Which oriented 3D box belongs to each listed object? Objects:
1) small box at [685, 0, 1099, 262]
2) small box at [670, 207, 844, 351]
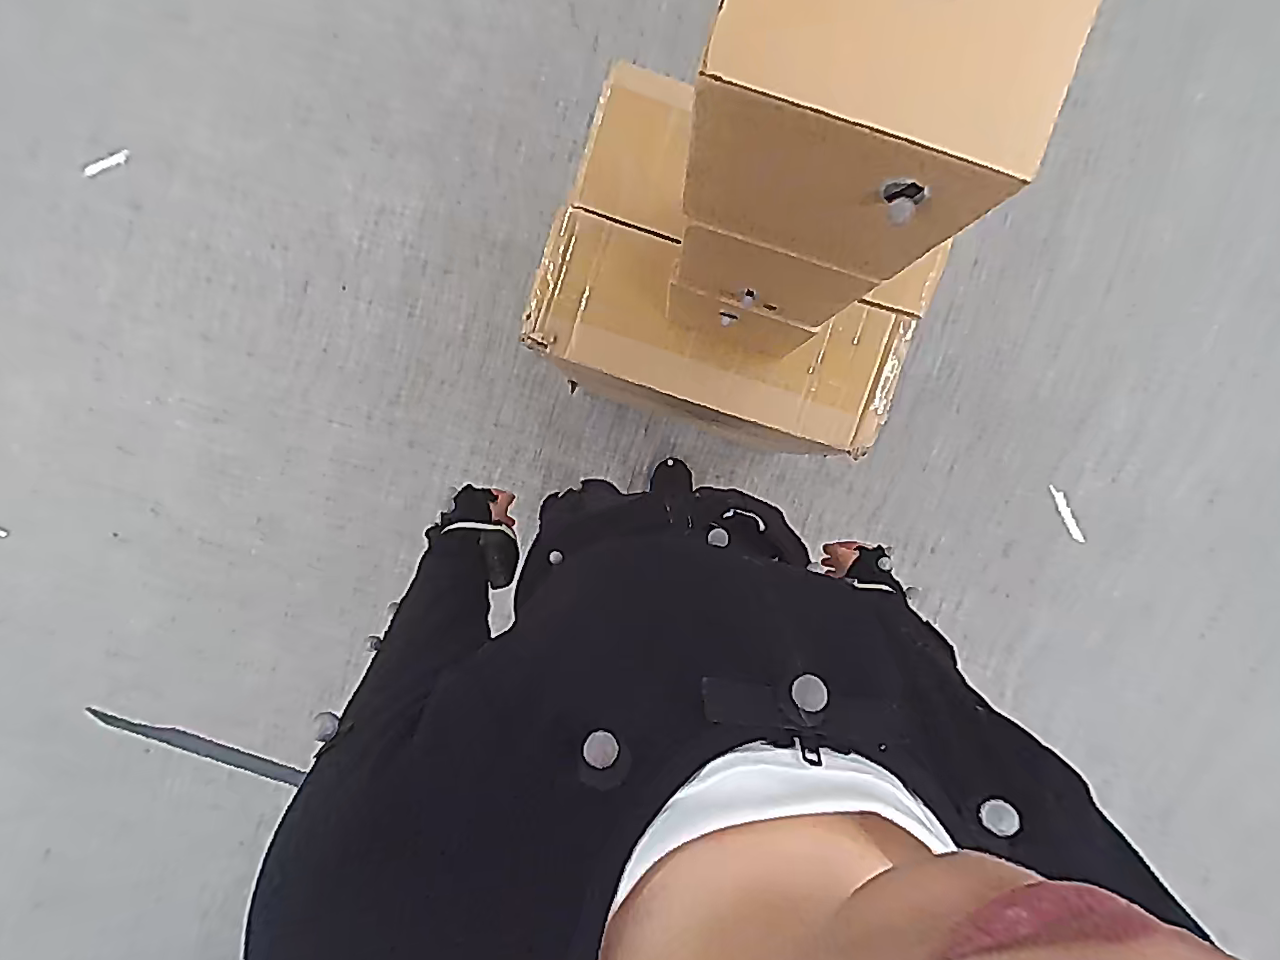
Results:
[{"bbox_3d":[0.137,-0.258,0.336,0.179,0.176,0.168,19,94,0],"label":"small box"},{"bbox_3d":[0.142,-0.271,0.665,0.179,0.176,0.168,19,94,0],"label":"small box"}]
